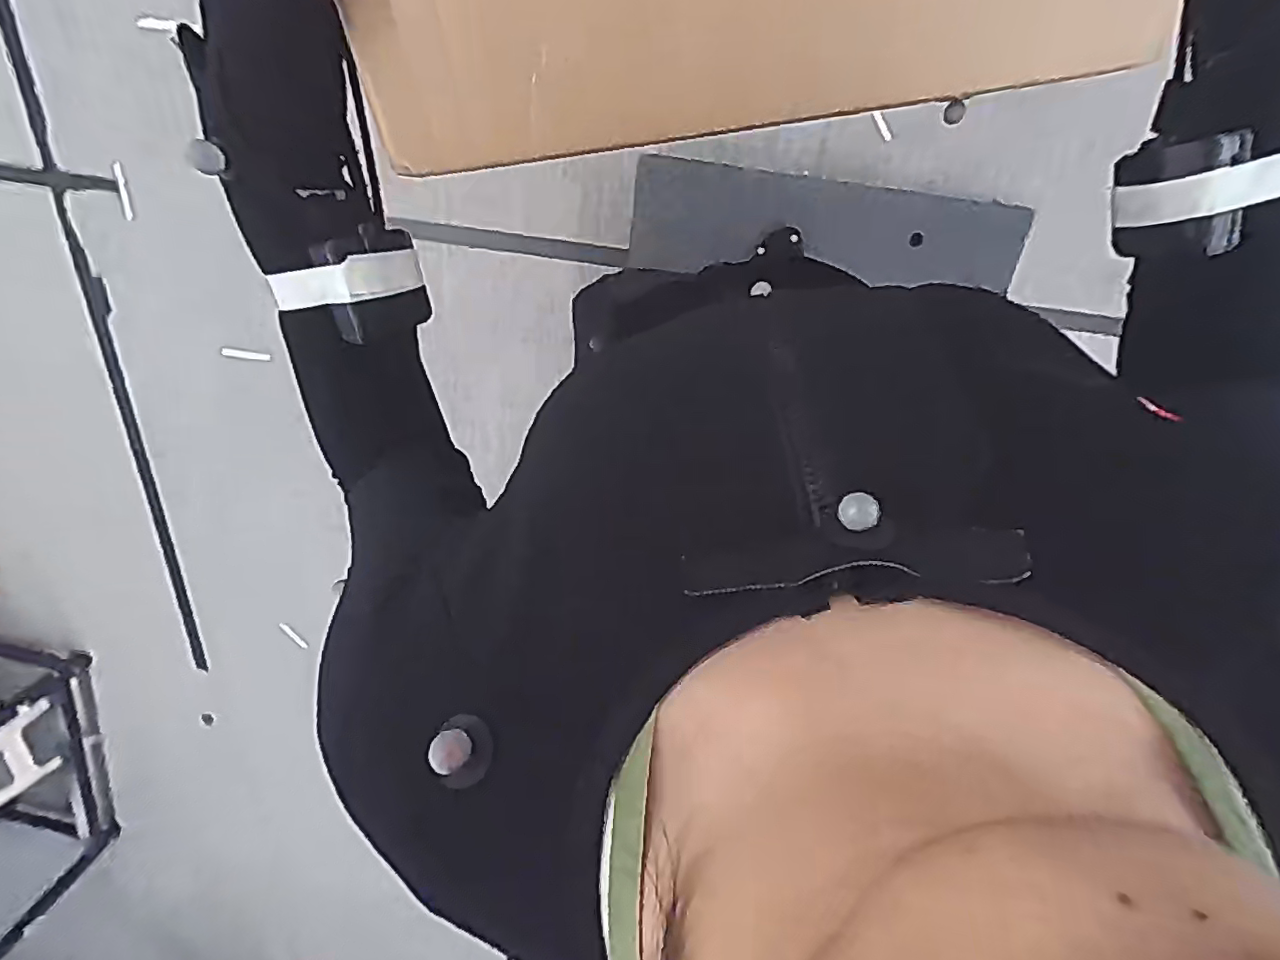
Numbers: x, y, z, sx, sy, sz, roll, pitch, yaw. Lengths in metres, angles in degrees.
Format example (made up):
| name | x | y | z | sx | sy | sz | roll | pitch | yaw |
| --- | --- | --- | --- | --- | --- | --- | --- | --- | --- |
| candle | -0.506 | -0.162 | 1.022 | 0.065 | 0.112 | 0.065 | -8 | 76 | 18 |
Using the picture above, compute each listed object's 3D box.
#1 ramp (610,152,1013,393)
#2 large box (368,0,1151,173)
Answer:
| name | x | y | z | sx | sy | sz | roll | pitch | yaw |
| --- | --- | --- | --- | --- | --- | --- | --- | --- | --- |
| ramp | 0.434 | -0.496 | 1.388 | 0.991 | 0.206 | 0.509 | 5 | 113 | 0 |
| large box | 0.049 | -0.410 | 0.337 | 0.408 | 0.320 | 0.320 | -6 | 124 | 3 |
